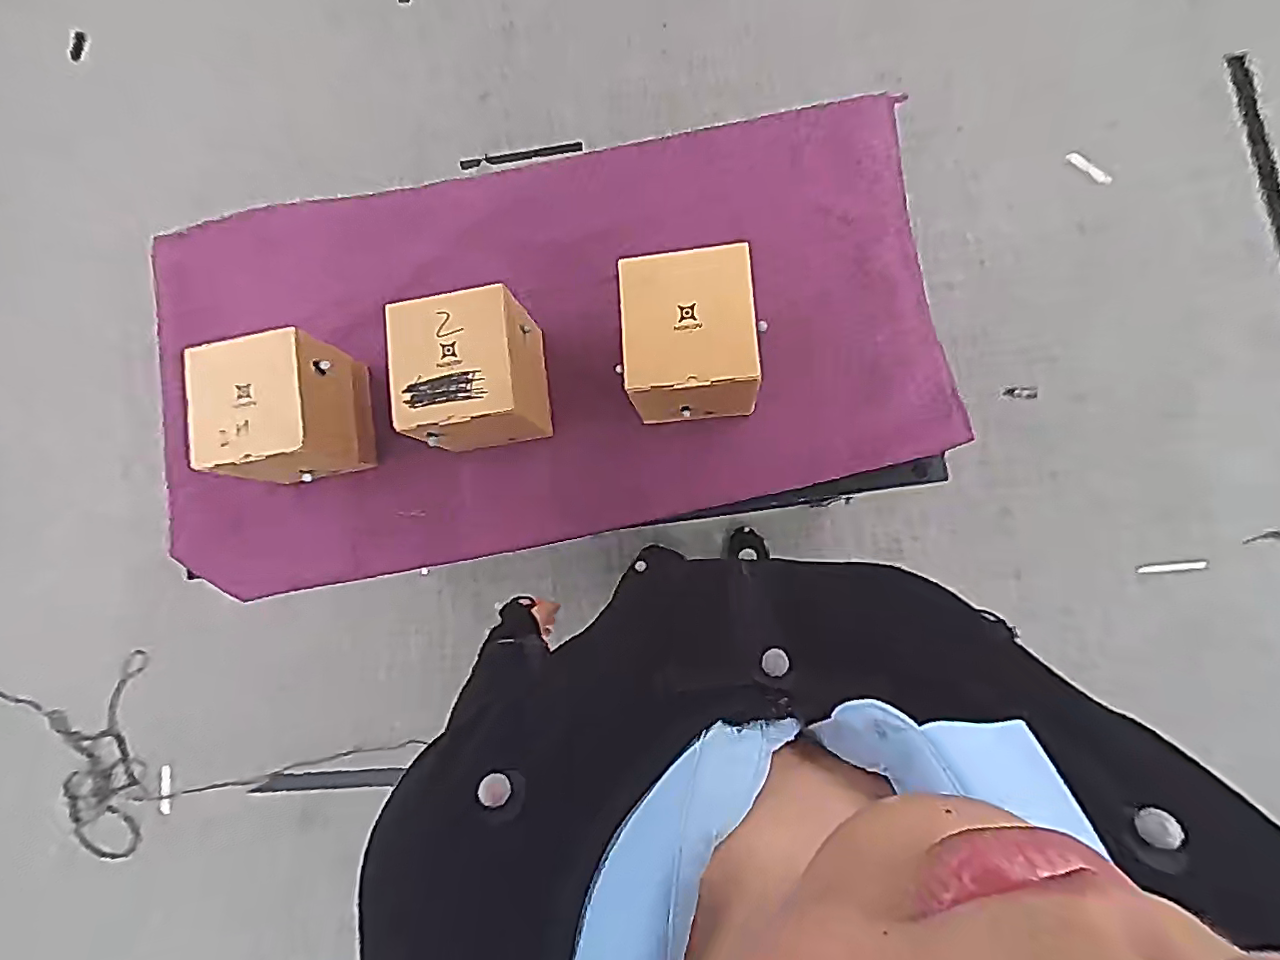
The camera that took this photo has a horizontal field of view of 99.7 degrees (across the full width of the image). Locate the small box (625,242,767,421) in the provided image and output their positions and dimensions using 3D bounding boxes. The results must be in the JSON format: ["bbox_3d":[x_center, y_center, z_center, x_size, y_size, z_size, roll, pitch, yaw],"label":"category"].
[{"bbox_3d":[0.074,-0.189,0.735,0.168,0.176,0.179,-5,82,7],"label":"small box"}]

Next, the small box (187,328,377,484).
[{"bbox_3d":[-0.518,-0.099,0.802,0.168,0.176,0.179,-10,83,5],"label":"small box"}]
